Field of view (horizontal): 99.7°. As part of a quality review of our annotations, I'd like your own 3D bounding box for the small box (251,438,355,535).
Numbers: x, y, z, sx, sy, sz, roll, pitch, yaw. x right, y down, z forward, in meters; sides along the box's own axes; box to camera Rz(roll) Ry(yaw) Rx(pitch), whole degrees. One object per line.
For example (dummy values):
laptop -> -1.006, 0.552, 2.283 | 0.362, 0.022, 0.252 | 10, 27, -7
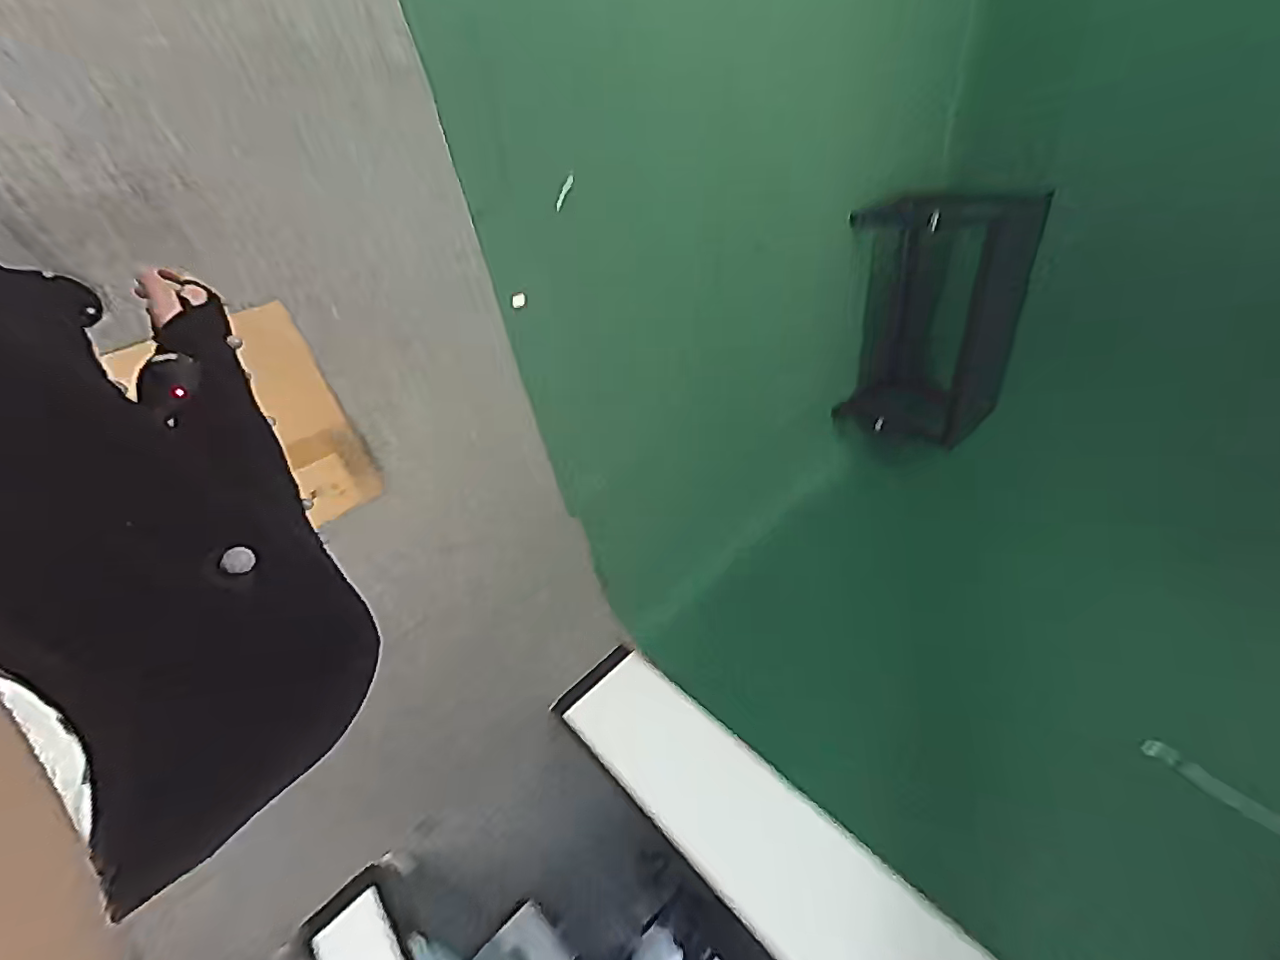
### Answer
small box -> -0.903, 0.011, 1.443 | 0.179, 0.176, 0.168 | -32, 132, -30
